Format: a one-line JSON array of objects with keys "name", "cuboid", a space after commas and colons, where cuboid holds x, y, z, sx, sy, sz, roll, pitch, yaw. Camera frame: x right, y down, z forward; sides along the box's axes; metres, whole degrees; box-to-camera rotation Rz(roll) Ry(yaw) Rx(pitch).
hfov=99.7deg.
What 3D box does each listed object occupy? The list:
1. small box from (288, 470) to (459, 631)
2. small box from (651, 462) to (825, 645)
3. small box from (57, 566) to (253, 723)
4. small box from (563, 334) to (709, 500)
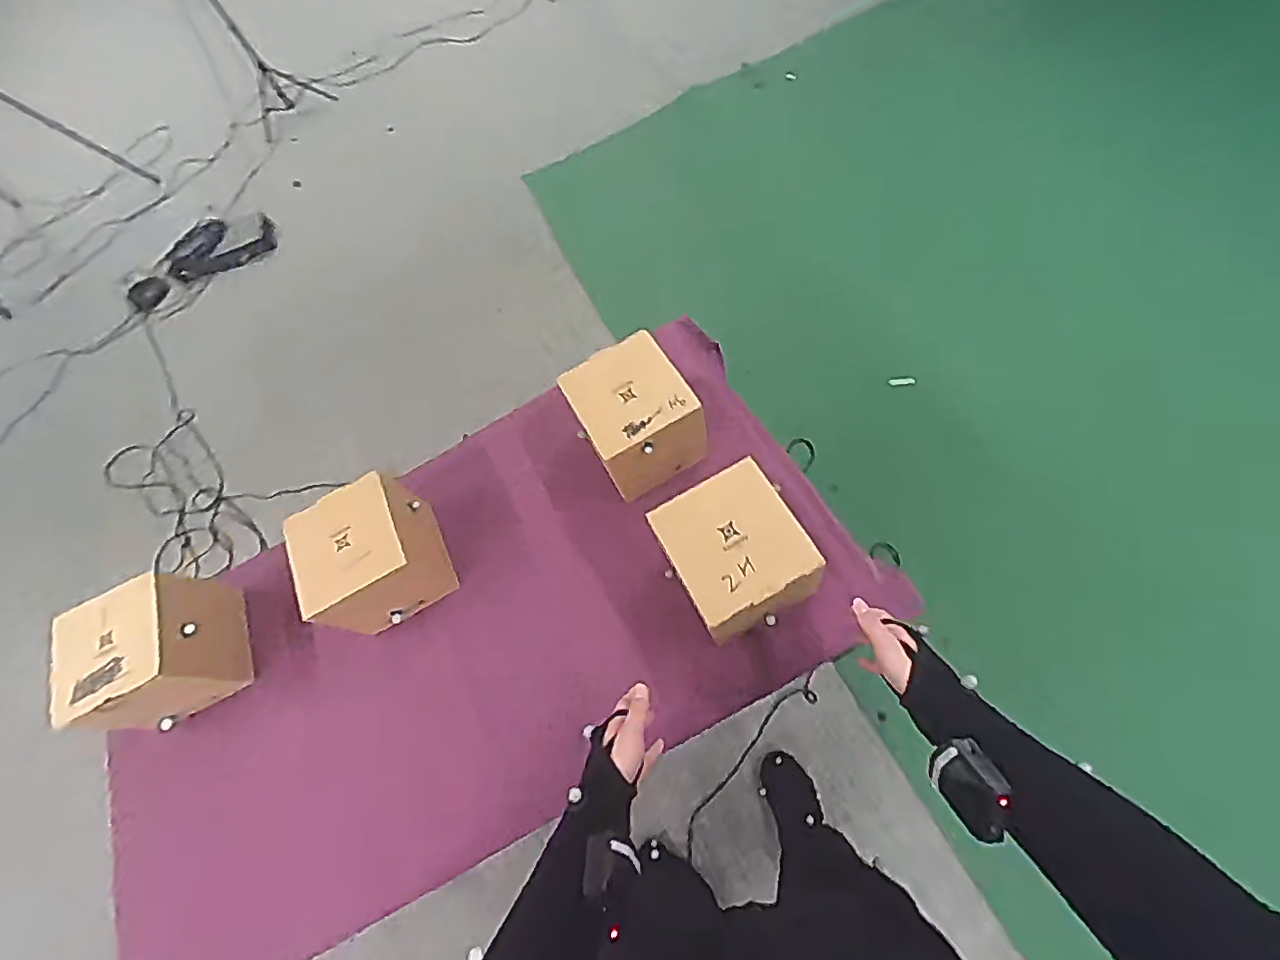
[{"name": "small box", "cuboid": [-0.421, 0.120, 0.871, 0.168, 0.176, 0.179, -28, 64, -2]}, {"name": "small box", "cuboid": [0.135, 0.111, 0.764, 0.168, 0.176, 0.179, -29, 63, 0]}, {"name": "small box", "cuboid": [-0.759, 0.265, 0.863, 0.168, 0.176, 0.179, -26, 64, -3]}, {"name": "small box", "cuboid": [-0.002, -0.097, 0.889, 0.168, 0.176, 0.179, -30, 63, -3]}]
